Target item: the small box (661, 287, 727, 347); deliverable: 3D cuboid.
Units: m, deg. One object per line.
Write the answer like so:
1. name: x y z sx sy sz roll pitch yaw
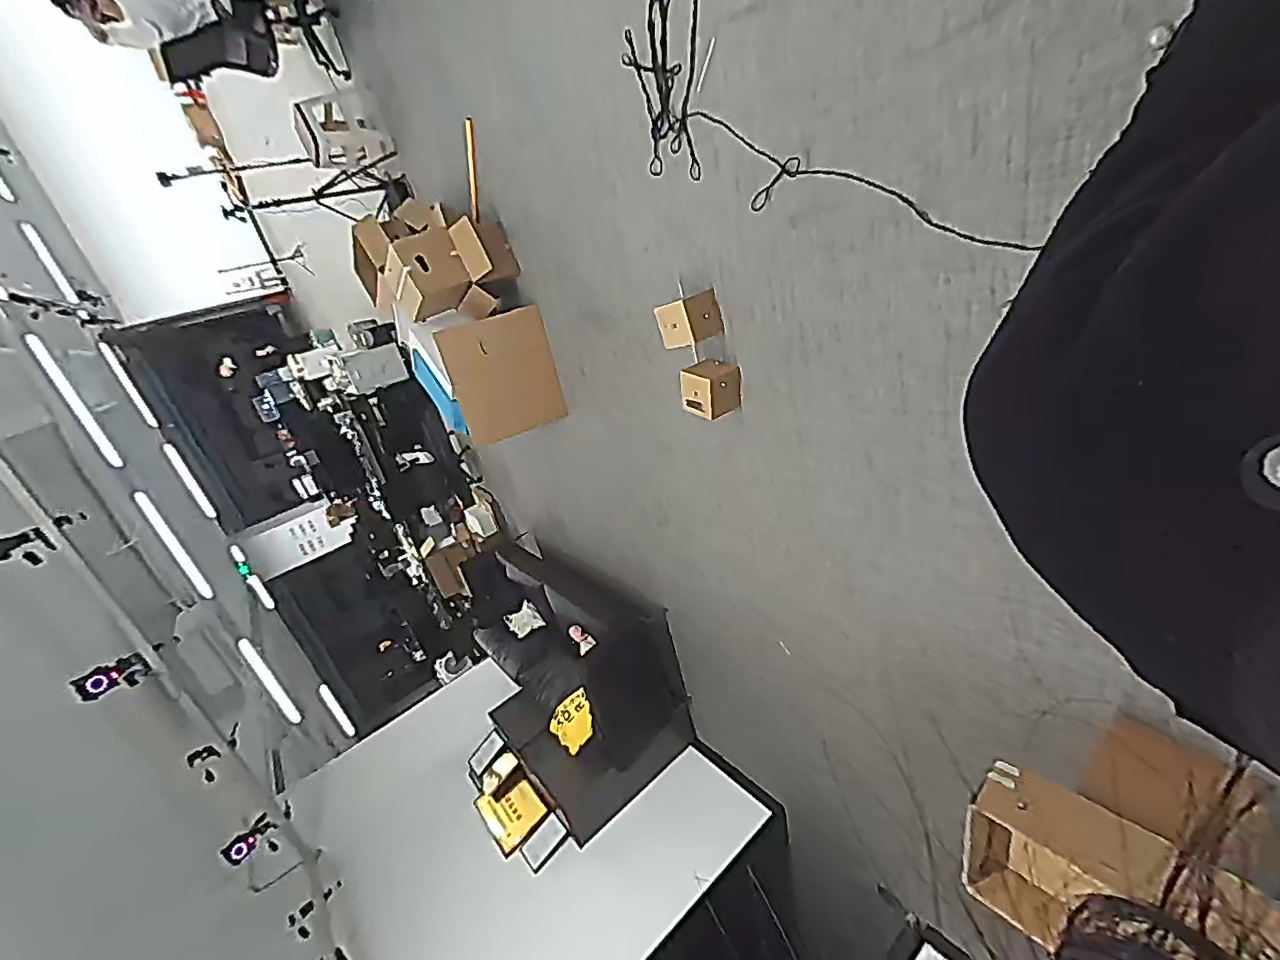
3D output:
1. small box: 0.214 -0.626 2.076 0.179 0.176 0.168 8 123 55
